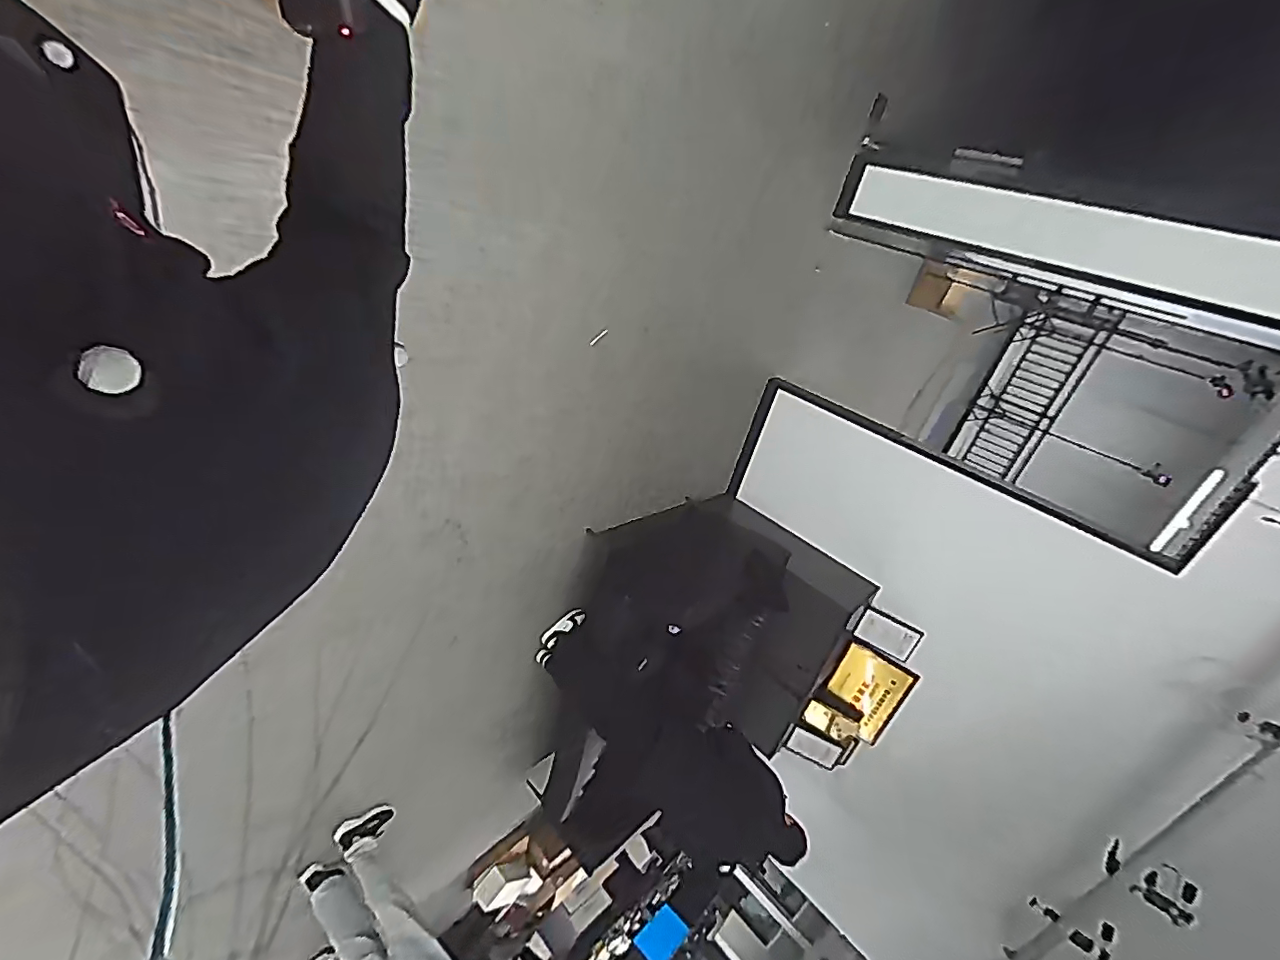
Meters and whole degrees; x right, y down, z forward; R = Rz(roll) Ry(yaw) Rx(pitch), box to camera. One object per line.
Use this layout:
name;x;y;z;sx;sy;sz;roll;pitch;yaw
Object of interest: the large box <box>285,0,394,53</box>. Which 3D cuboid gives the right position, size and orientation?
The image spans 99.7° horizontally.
large box;-0.345;-0.629;0.382;0.408;0.320;0.320;34;108;-28
